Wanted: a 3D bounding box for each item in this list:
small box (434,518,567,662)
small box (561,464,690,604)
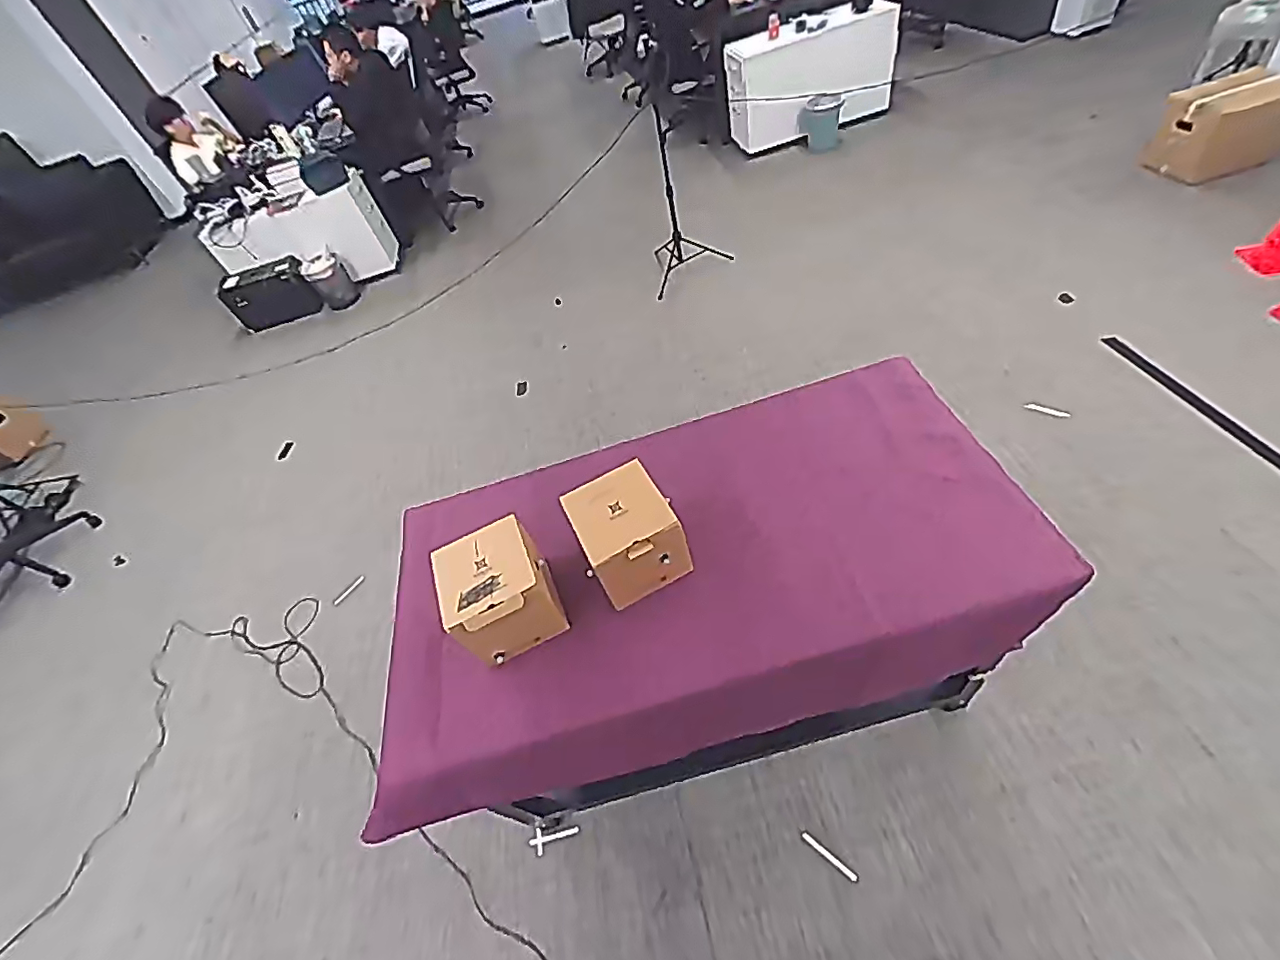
[{"bbox_3d":[-0.251,0.210,0.992,0.168,0.176,0.179,-26,48,-6],"label":"small box"},{"bbox_3d":[-0.022,0.108,1.012,0.168,0.176,0.179,-27,48,-7],"label":"small box"}]
